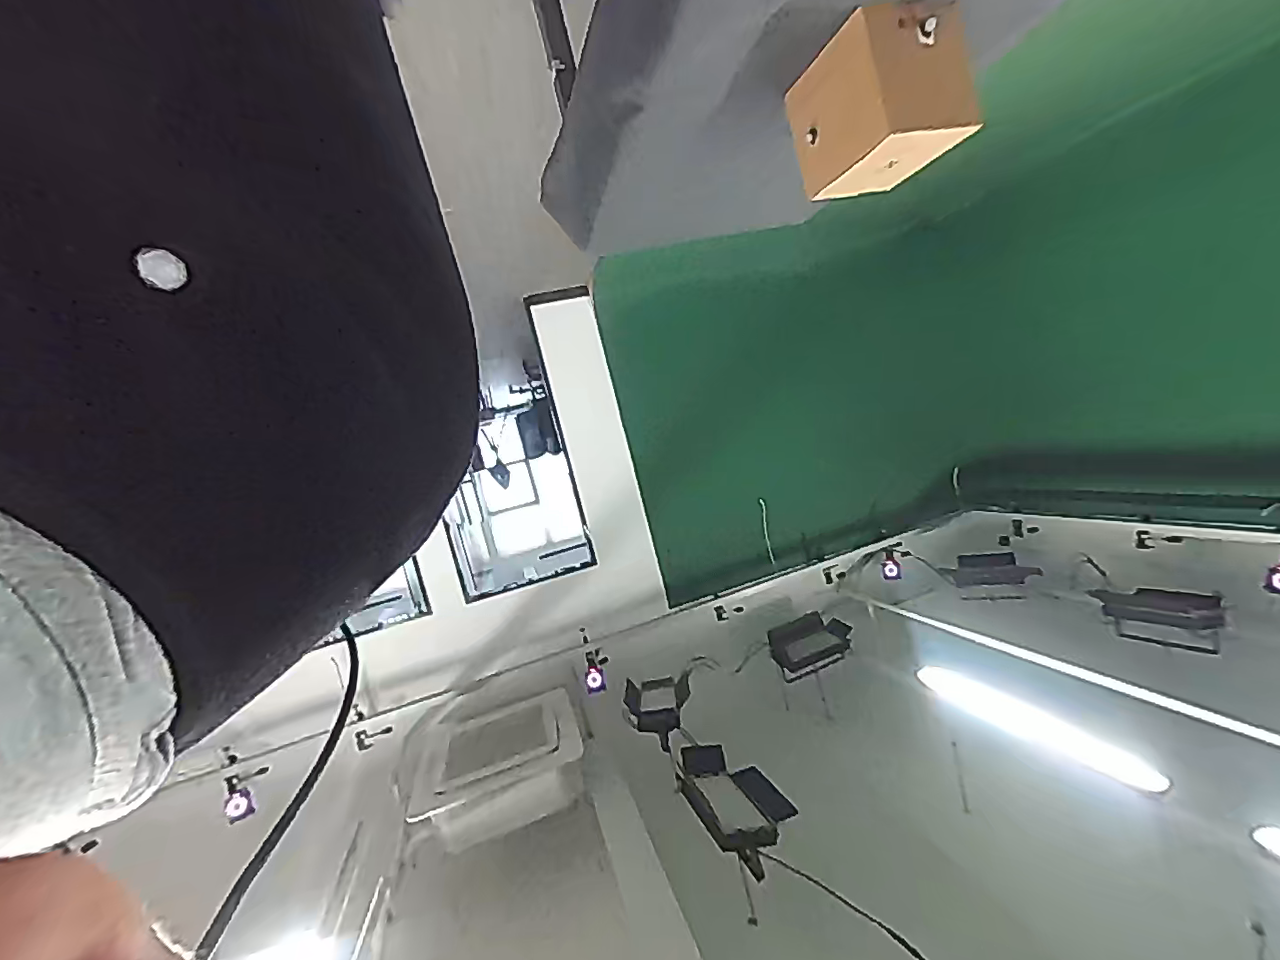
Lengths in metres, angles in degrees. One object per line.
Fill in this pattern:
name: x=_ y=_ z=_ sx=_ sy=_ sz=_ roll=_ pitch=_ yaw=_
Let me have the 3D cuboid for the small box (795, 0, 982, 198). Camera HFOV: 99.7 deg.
small box: x=0.345 y=-0.542 z=0.780 sx=0.168 sy=0.176 sz=0.179 roll=-17 pitch=-176 yaw=-17
